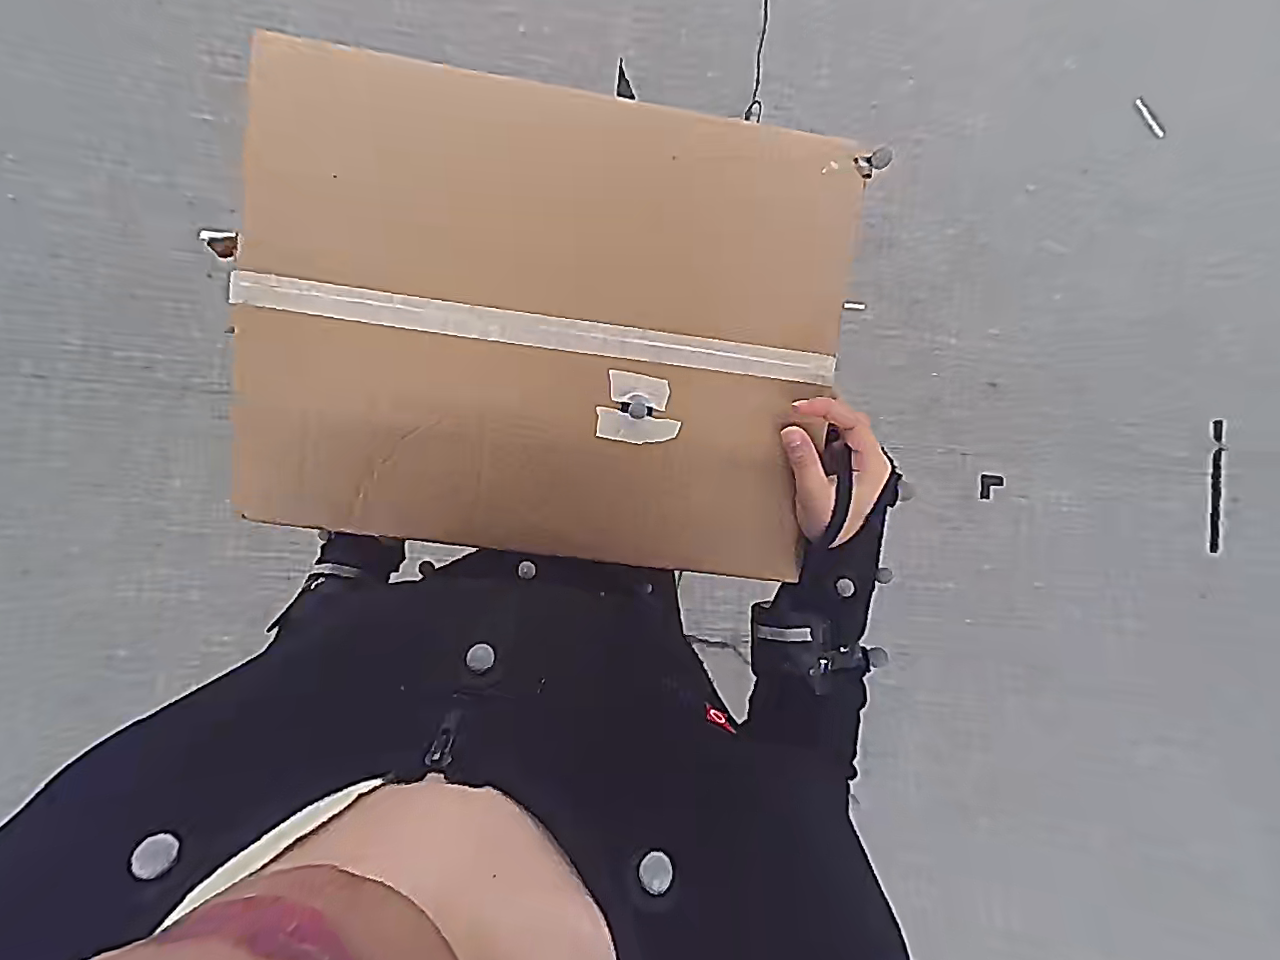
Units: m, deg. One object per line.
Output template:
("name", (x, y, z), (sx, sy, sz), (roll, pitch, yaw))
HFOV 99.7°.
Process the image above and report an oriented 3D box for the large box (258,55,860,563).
("large box", (-0.069, -0.122, 0.528), (0.408, 0.320, 0.320), (7, 97, -6))
